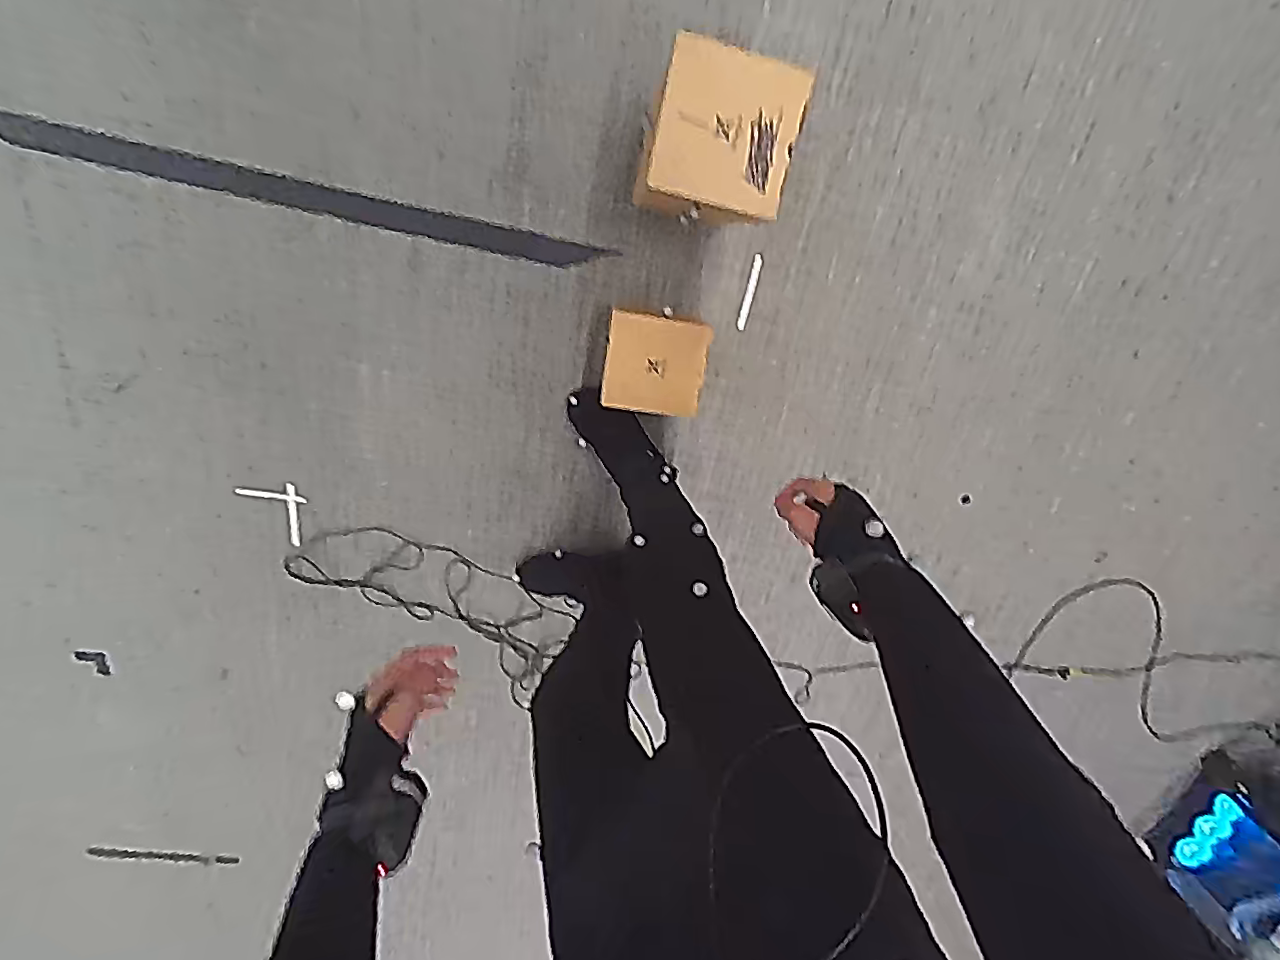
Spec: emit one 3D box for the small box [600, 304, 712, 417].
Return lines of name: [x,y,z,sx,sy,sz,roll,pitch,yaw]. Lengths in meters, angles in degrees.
small box: [0.020,-0.231,1.020,0.179,0.176,0.168,6,113,-8]

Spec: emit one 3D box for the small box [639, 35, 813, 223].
small box: [0.103,-0.462,0.742,0.179,0.176,0.168,11,112,-8]
